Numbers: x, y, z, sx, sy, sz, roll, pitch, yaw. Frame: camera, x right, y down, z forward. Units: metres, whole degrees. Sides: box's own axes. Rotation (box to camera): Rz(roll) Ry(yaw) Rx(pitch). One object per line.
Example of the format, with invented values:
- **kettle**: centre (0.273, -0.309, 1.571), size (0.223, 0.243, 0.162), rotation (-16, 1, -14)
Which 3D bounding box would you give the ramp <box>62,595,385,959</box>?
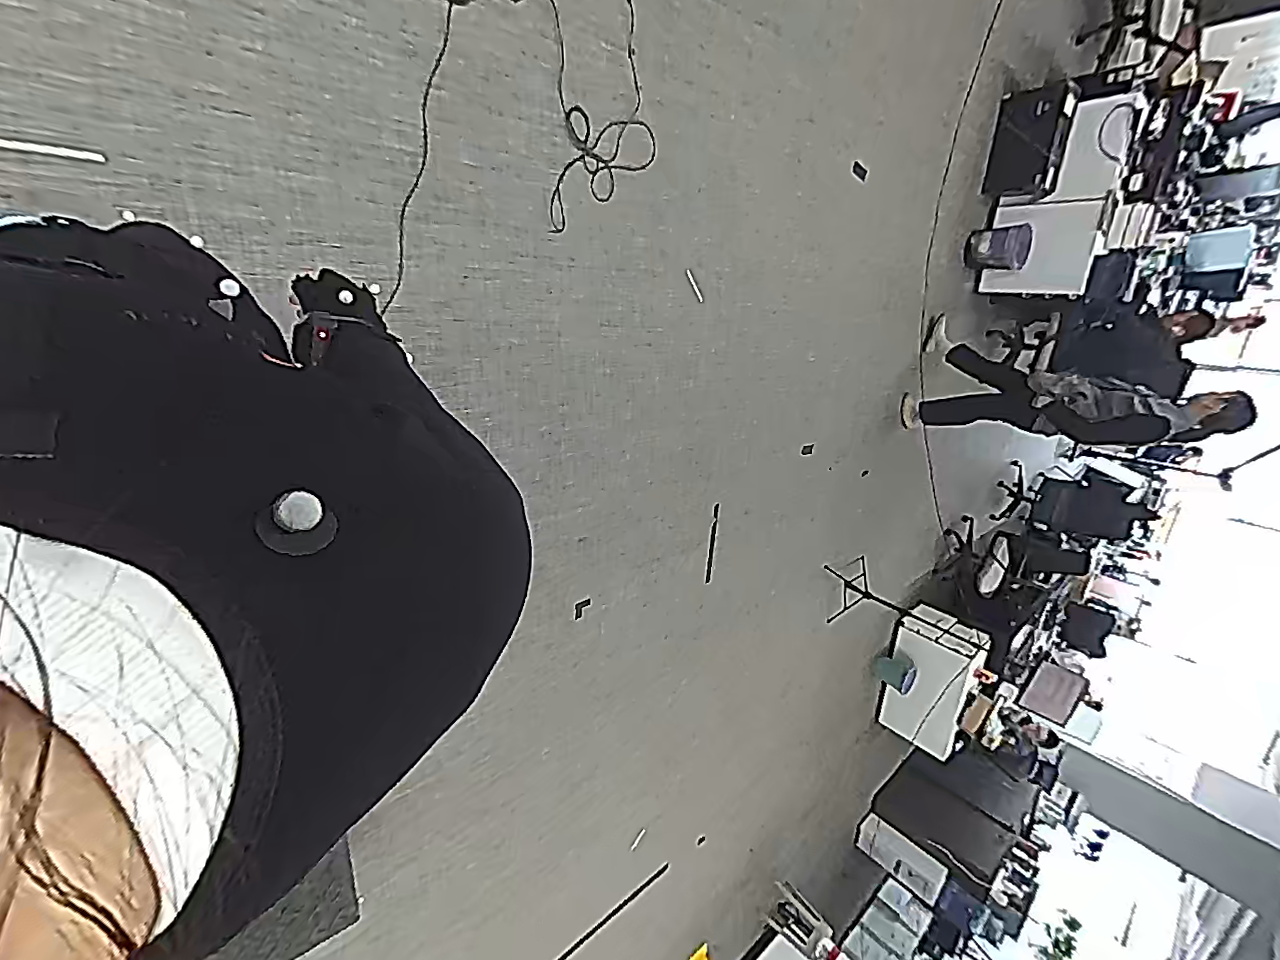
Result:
- **ramp**: centre (-0.970, 0.824, 1.341), size (0.509, 0.206, 0.991), rotation (-14, 113, -37)
